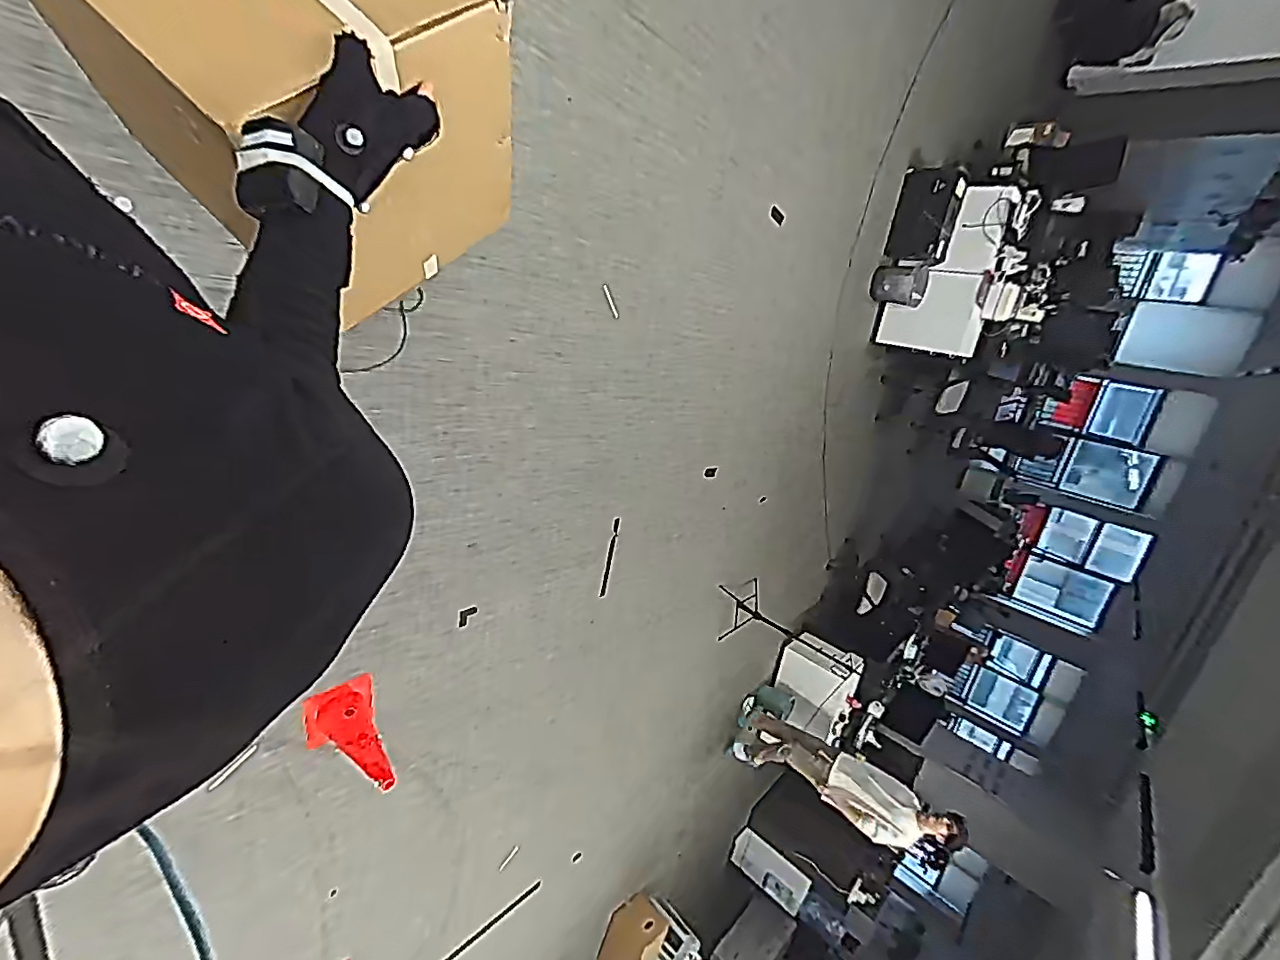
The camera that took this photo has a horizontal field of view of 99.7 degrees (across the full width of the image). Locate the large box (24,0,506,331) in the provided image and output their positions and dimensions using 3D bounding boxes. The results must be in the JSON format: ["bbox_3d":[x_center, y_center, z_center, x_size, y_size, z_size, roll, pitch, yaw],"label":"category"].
[{"bbox_3d":[-0.414,-0.468,0.639,0.320,0.408,0.320,-46,178,-21],"label":"large box"}]

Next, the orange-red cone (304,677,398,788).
[{"bbox_3d":[-0.824,0.787,1.608,0.198,0.360,0.199,-14,118,-47],"label":"orange-red cone"}]
